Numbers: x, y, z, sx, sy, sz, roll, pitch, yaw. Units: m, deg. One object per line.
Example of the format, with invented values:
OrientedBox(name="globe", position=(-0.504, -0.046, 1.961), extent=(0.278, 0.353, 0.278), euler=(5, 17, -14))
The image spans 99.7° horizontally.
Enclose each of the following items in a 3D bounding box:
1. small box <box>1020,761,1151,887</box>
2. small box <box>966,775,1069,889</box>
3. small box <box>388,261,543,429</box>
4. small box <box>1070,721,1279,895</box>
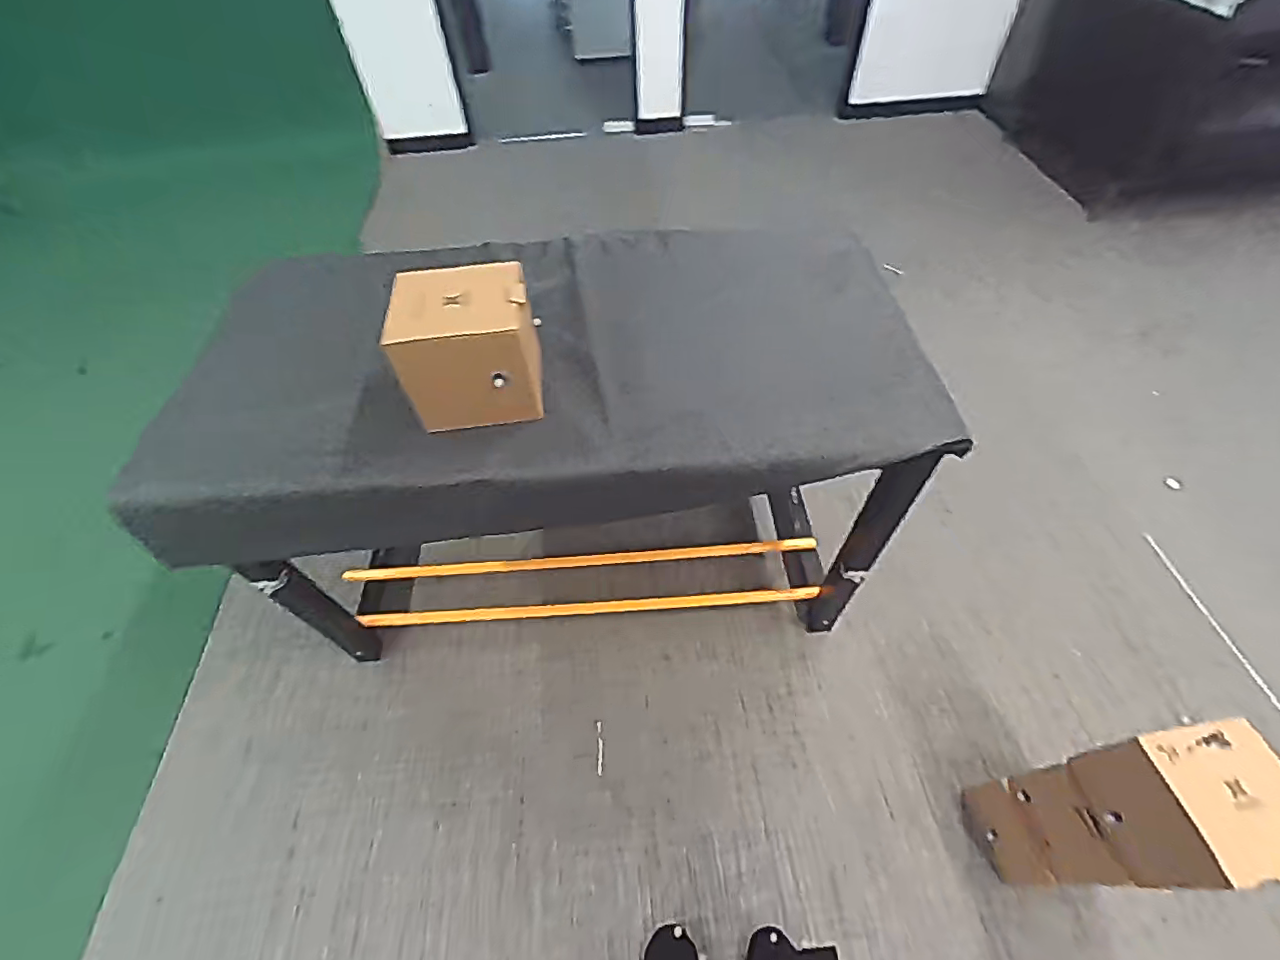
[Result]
OrientedBox(name="small box", position=(0.776, 0.558, 0.892), extent=(0.179, 0.176, 0.168), euler=(-7, 54, -4))
OrientedBox(name="small box", position=(0.769, 0.656, 1.024), extent=(0.179, 0.176, 0.168), euler=(-9, 53, -4))
OrientedBox(name="small box", position=(-0.241, -0.195, 0.798), extent=(0.179, 0.176, 0.168), euler=(-8, 52, -3))
OrientedBox(name="small box", position=(0.775, 0.459, 0.761), extent=(0.168, 0.176, 0.179), euler=(-7, 54, -4))
